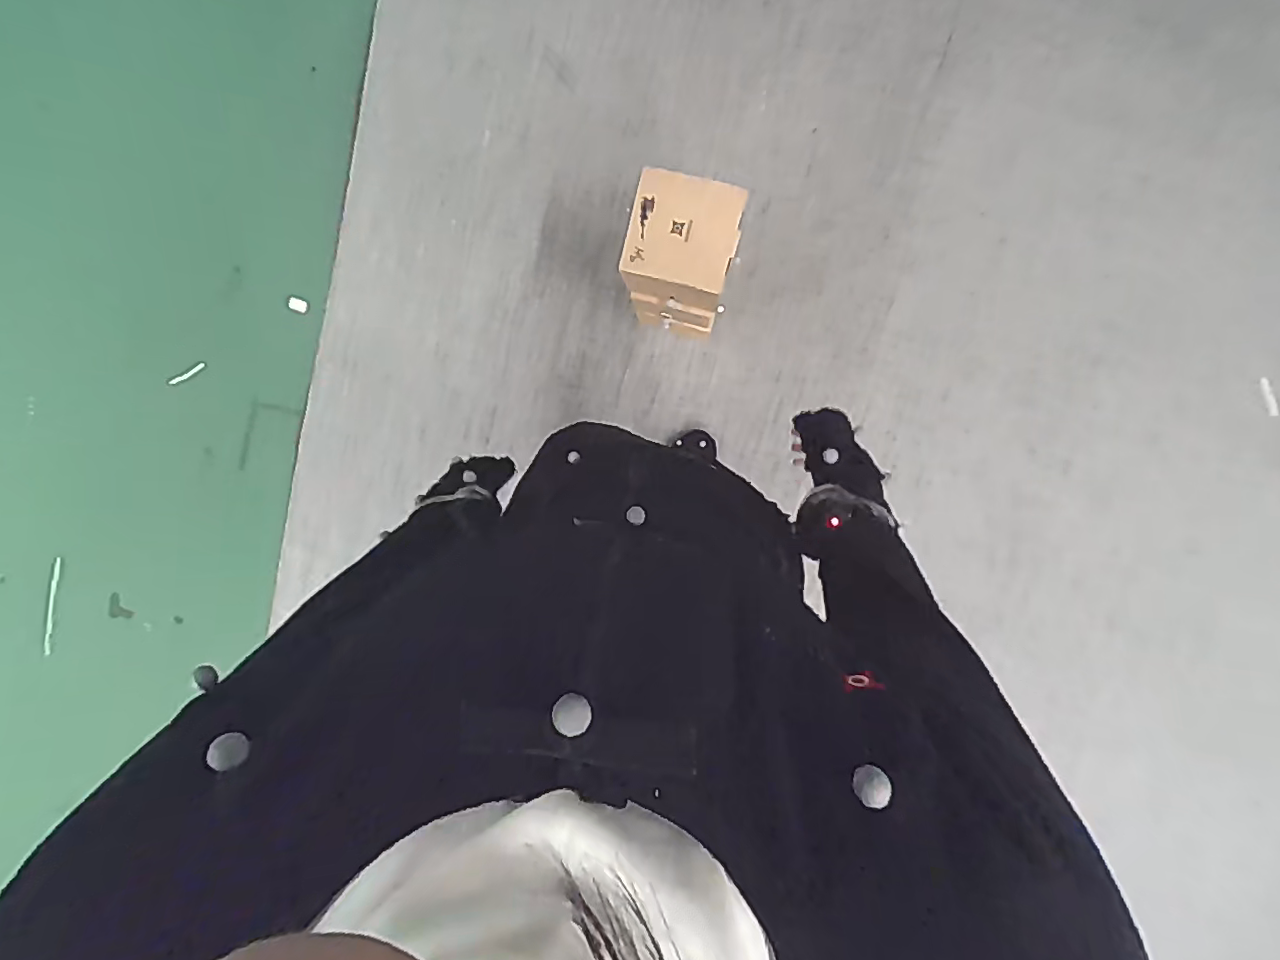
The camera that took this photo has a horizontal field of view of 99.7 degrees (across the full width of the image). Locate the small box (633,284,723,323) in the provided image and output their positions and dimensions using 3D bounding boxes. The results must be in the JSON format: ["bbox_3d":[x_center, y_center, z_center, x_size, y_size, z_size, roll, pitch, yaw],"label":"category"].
[{"bbox_3d":[0.095,-0.434,1.101,0.168,0.176,0.179,16,101,5],"label":"small box"}]

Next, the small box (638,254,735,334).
[{"bbox_3d":[0.108,-0.450,1.262,0.179,0.176,0.168,17,100,2],"label":"small box"}]

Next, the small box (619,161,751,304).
[{"bbox_3d":[0.078,-0.415,0.940,0.179,0.176,0.168,17,100,4],"label":"small box"}]
